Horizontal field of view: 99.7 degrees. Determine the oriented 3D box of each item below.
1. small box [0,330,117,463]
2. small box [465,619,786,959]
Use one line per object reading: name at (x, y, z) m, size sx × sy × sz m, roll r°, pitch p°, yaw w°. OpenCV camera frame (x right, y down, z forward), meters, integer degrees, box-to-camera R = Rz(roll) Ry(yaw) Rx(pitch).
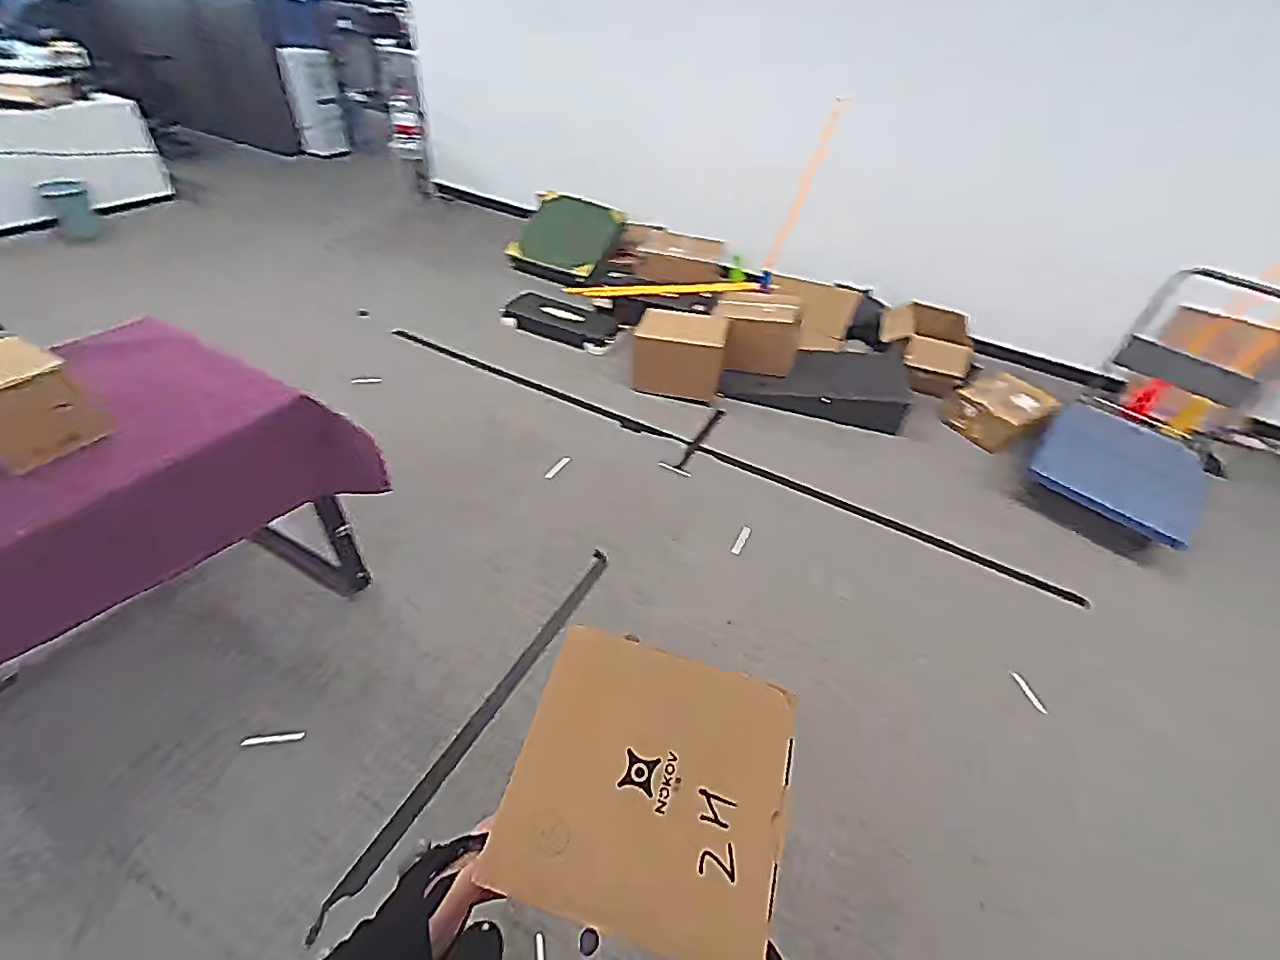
small box at (-1.173, -0.156, 1.033) m, size 0.179 × 0.176 × 0.168 m, roll 24°, pitch 45°, yaw 17°
small box at (-0.005, 0.234, 0.420) m, size 0.179 × 0.176 × 0.168 m, roll 16°, pitch 57°, yaw 6°
